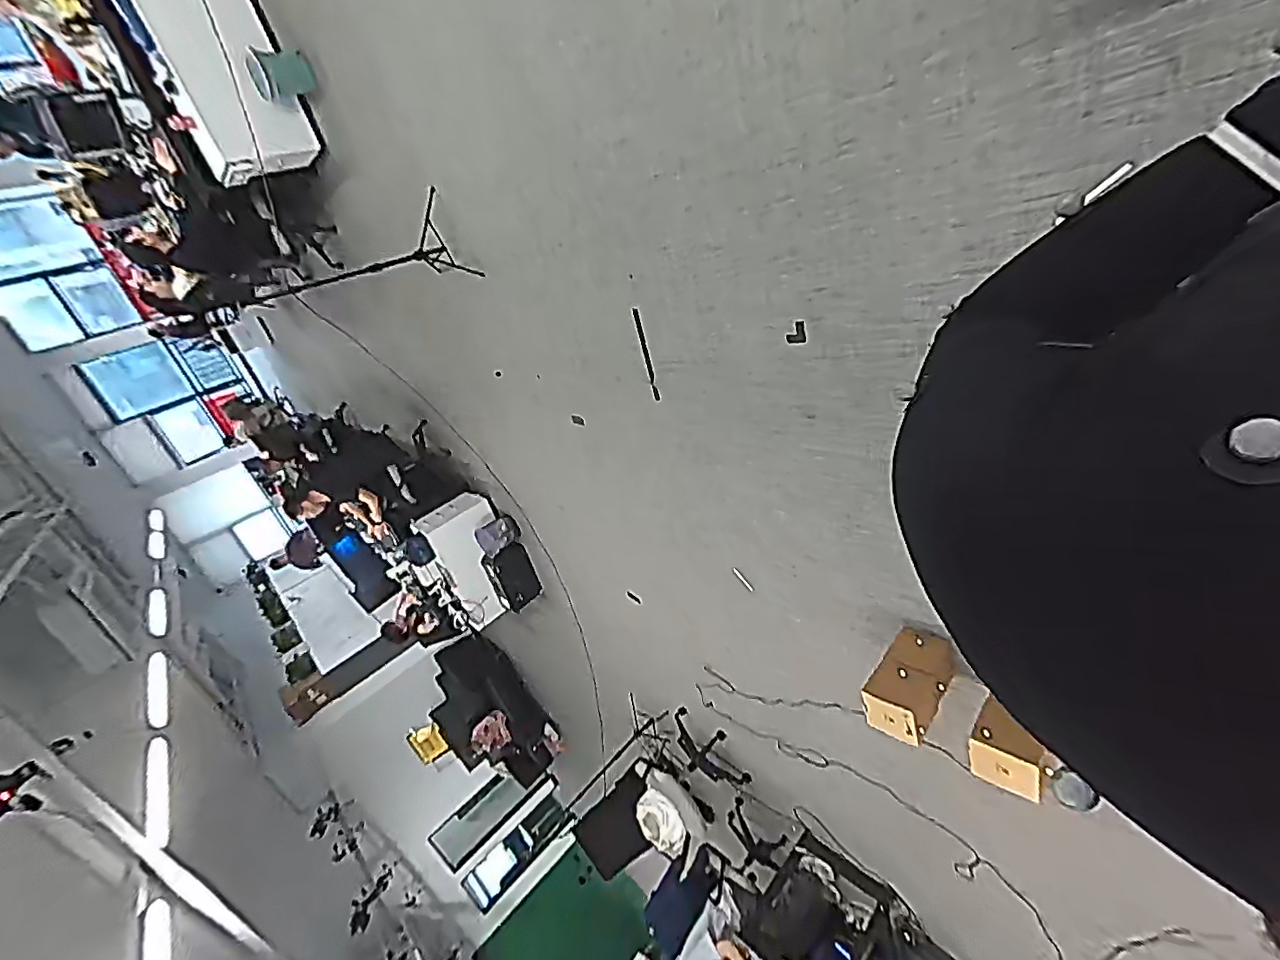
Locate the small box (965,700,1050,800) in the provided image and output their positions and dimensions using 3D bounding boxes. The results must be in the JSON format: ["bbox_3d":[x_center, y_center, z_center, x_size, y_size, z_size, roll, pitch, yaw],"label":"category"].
[{"bbox_3d":[1.095,0.792,1.606,0.179,0.176,0.168,11,128,48],"label":"small box"}]

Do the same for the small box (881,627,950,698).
[{"bbox_3d":[0.989,0.664,1.933,0.168,0.176,0.179,11,127,48],"label":"small box"}]

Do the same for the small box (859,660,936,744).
[{"bbox_3d":[0.879,0.747,1.842,0.179,0.176,0.168,12,129,49],"label":"small box"}]
